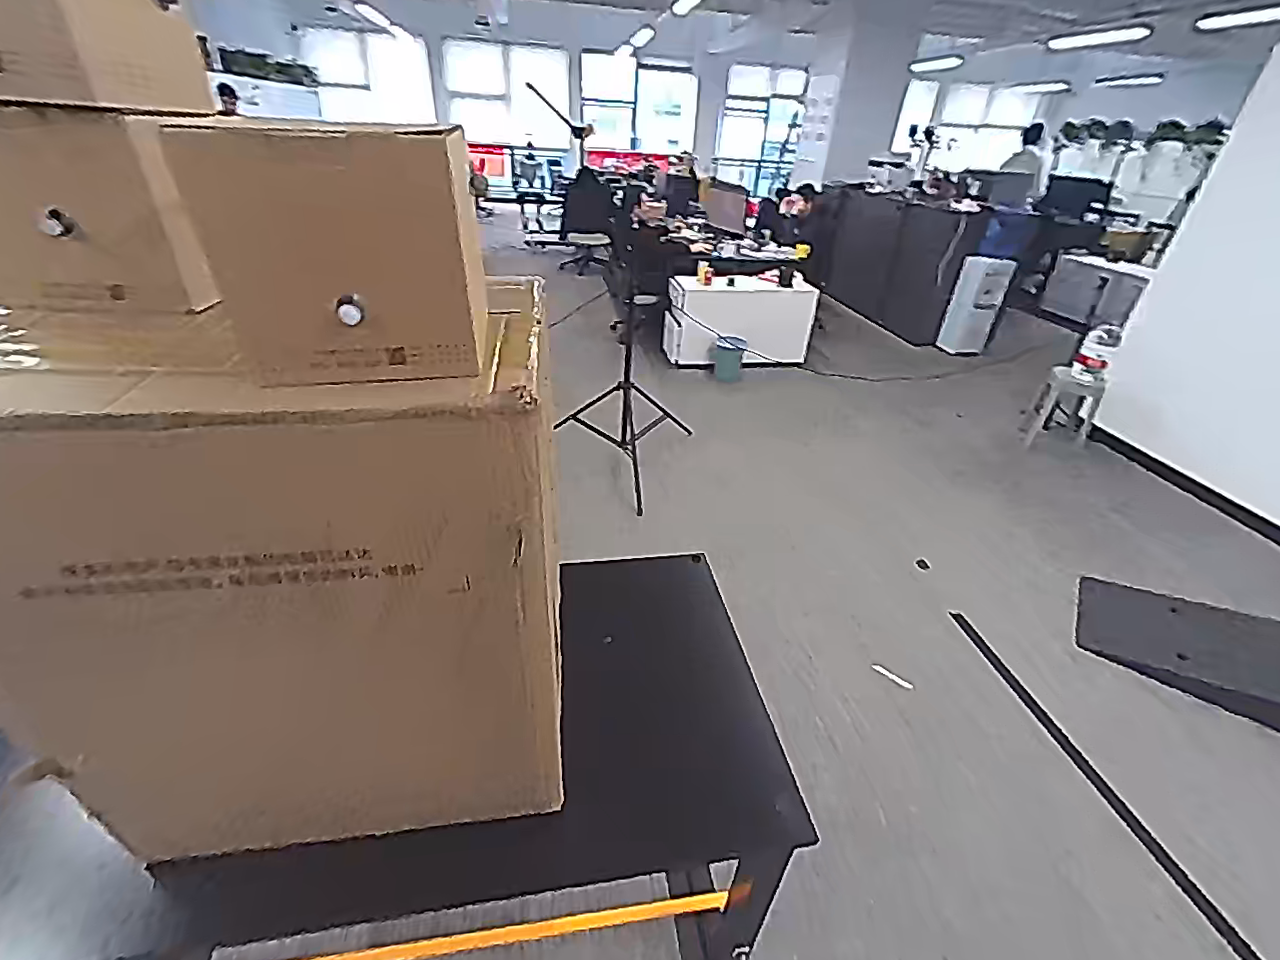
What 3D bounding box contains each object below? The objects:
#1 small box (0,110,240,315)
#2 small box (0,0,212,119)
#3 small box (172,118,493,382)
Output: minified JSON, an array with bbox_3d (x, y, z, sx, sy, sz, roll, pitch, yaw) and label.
[{"bbox_3d":[-0.514,-0.271,0.543,0.168,0.176,0.179,-1,33,-10],"label":"small box"},{"bbox_3d":[-0.499,-0.401,0.443,0.168,0.176,0.179,-1,33,-7],"label":"small box"},{"bbox_3d":[-0.217,-0.192,0.445,0.168,0.176,0.179,-5,35,-10],"label":"small box"}]
